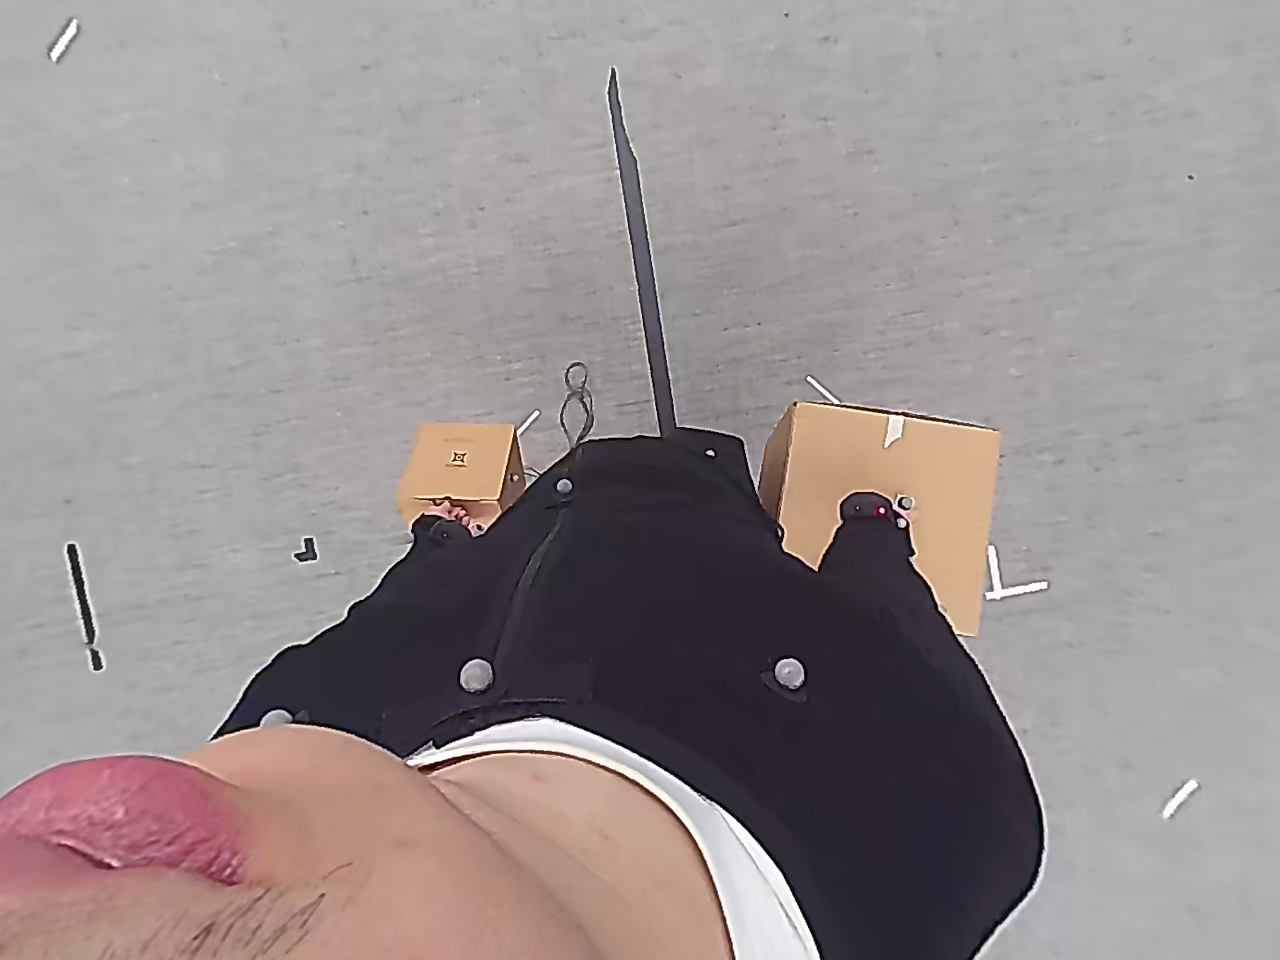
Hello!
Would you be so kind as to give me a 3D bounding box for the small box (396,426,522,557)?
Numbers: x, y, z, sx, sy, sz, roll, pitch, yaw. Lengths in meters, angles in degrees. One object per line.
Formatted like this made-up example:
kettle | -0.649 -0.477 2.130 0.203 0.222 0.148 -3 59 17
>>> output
small box | -0.311 0.024 0.974 0.168 0.179 0.176 2 139 -3
